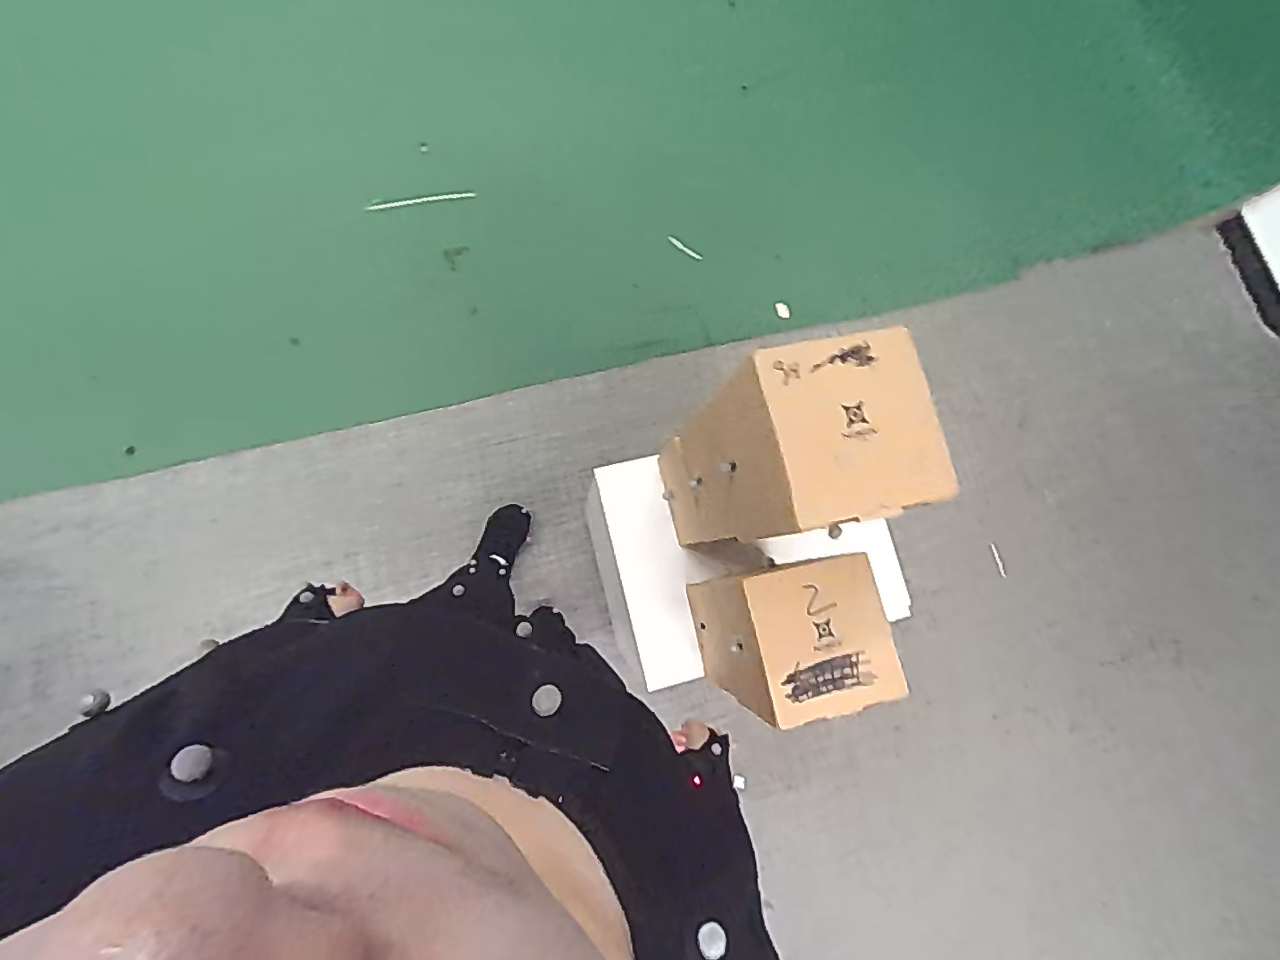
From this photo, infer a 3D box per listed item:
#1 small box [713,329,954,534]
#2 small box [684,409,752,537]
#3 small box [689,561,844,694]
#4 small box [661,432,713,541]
[{"bbox_3d":[0.191,-0.039,0.585,0.168,0.176,0.179,-10,83,-9],"label":"small box"},{"bbox_3d":[0.175,-0.020,0.748,0.179,0.176,0.168,-11,83,-10],"label":"small box"},{"bbox_3d":[0.194,0.227,0.876,0.179,0.176,0.168,-10,81,-9],"label":"small box"},{"bbox_3d":[0.148,0.003,0.908,0.179,0.176,0.168,-12,83,-9],"label":"small box"}]
